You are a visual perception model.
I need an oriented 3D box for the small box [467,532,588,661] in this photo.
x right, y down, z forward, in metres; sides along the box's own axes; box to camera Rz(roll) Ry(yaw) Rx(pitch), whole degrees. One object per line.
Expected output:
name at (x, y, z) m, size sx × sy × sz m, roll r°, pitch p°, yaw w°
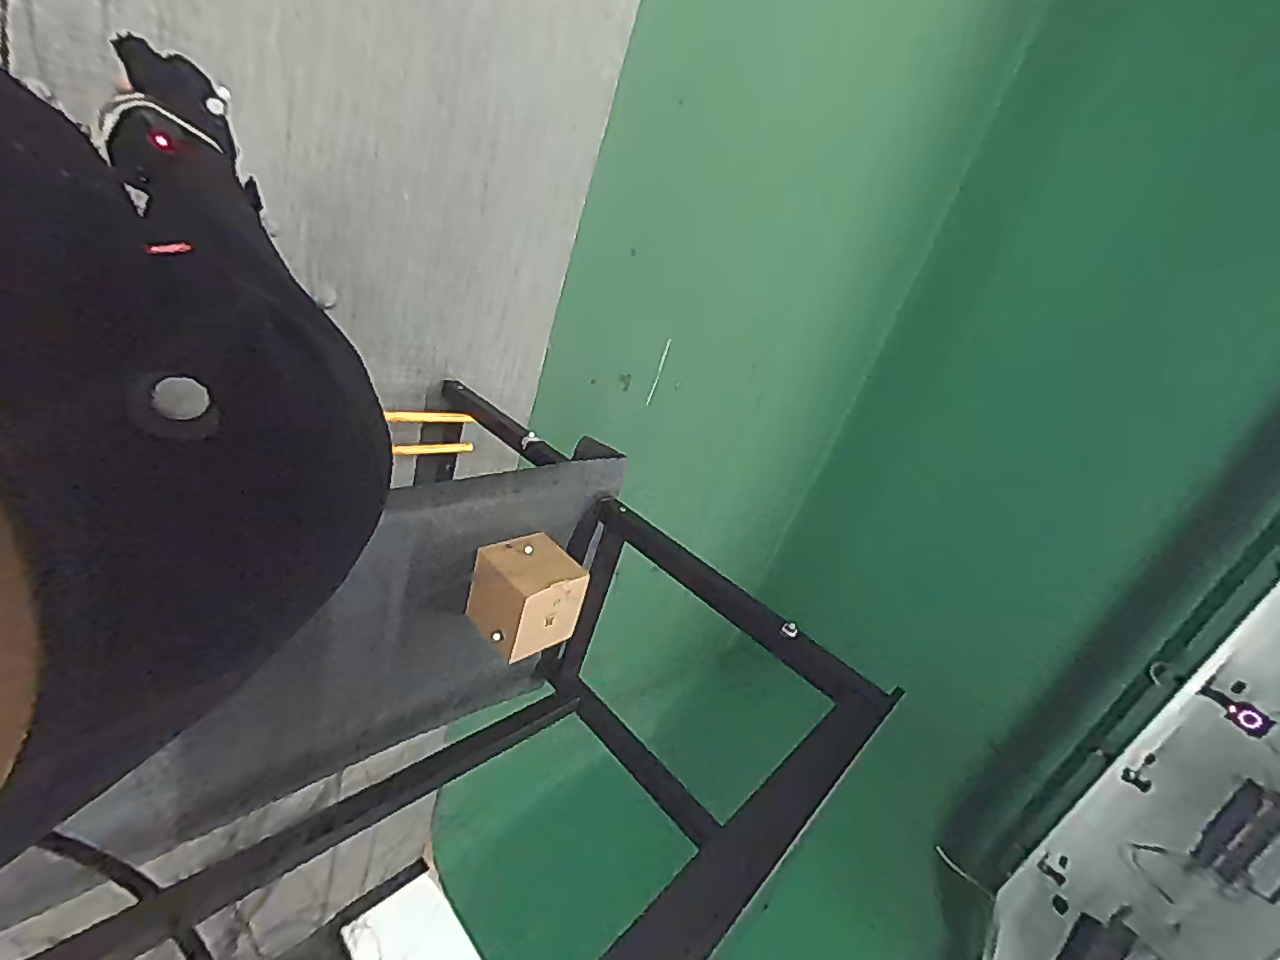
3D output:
small box at (-0.239, 0.235, 1.128) m, size 0.168 × 0.176 × 0.179 m, roll -11°, pitch 127°, yaw -49°
